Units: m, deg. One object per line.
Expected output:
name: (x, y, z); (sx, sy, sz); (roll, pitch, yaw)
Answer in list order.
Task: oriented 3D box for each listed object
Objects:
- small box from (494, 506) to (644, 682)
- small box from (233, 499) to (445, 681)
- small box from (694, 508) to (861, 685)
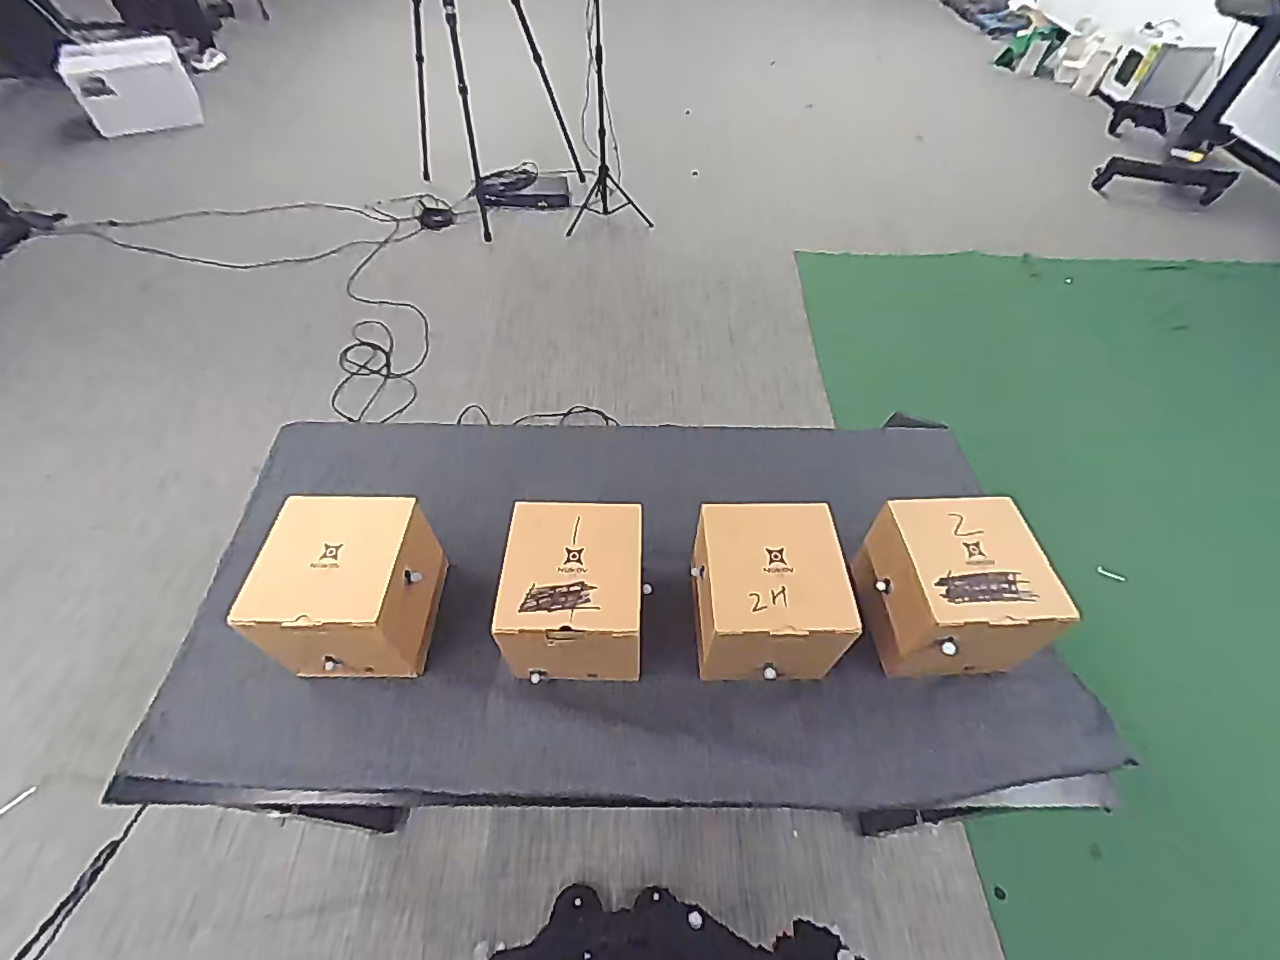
small box: (-0.079, 0.153, 0.706); (0.168, 0.176, 0.179); (2, 52, 0)
small box: (-0.367, 0.144, 0.705); (0.168, 0.176, 0.179); (1, 51, -2)
small box: (0.163, 0.154, 0.709); (0.168, 0.176, 0.179); (-1, 52, 0)
